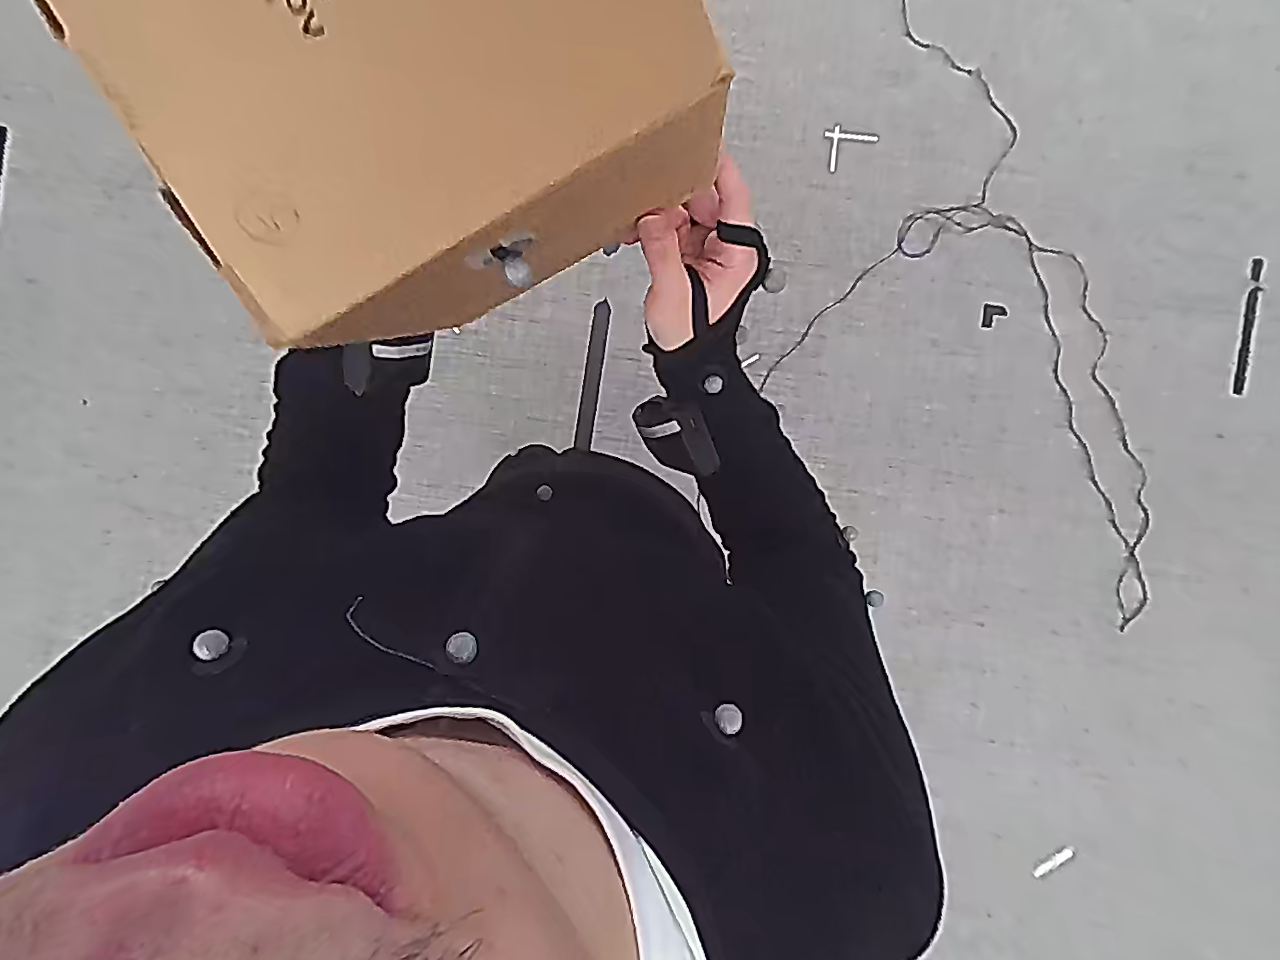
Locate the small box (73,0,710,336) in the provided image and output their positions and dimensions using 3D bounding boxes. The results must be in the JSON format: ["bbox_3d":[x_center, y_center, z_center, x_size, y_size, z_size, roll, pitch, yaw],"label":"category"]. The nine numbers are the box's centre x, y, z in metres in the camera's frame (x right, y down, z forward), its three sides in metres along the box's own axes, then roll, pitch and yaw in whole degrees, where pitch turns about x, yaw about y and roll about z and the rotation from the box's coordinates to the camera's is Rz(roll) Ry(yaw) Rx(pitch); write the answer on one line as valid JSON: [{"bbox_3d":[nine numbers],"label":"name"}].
[{"bbox_3d":[-0.079,-0.180,0.238,0.179,0.176,0.168,-24,106,14],"label":"small box"}]
